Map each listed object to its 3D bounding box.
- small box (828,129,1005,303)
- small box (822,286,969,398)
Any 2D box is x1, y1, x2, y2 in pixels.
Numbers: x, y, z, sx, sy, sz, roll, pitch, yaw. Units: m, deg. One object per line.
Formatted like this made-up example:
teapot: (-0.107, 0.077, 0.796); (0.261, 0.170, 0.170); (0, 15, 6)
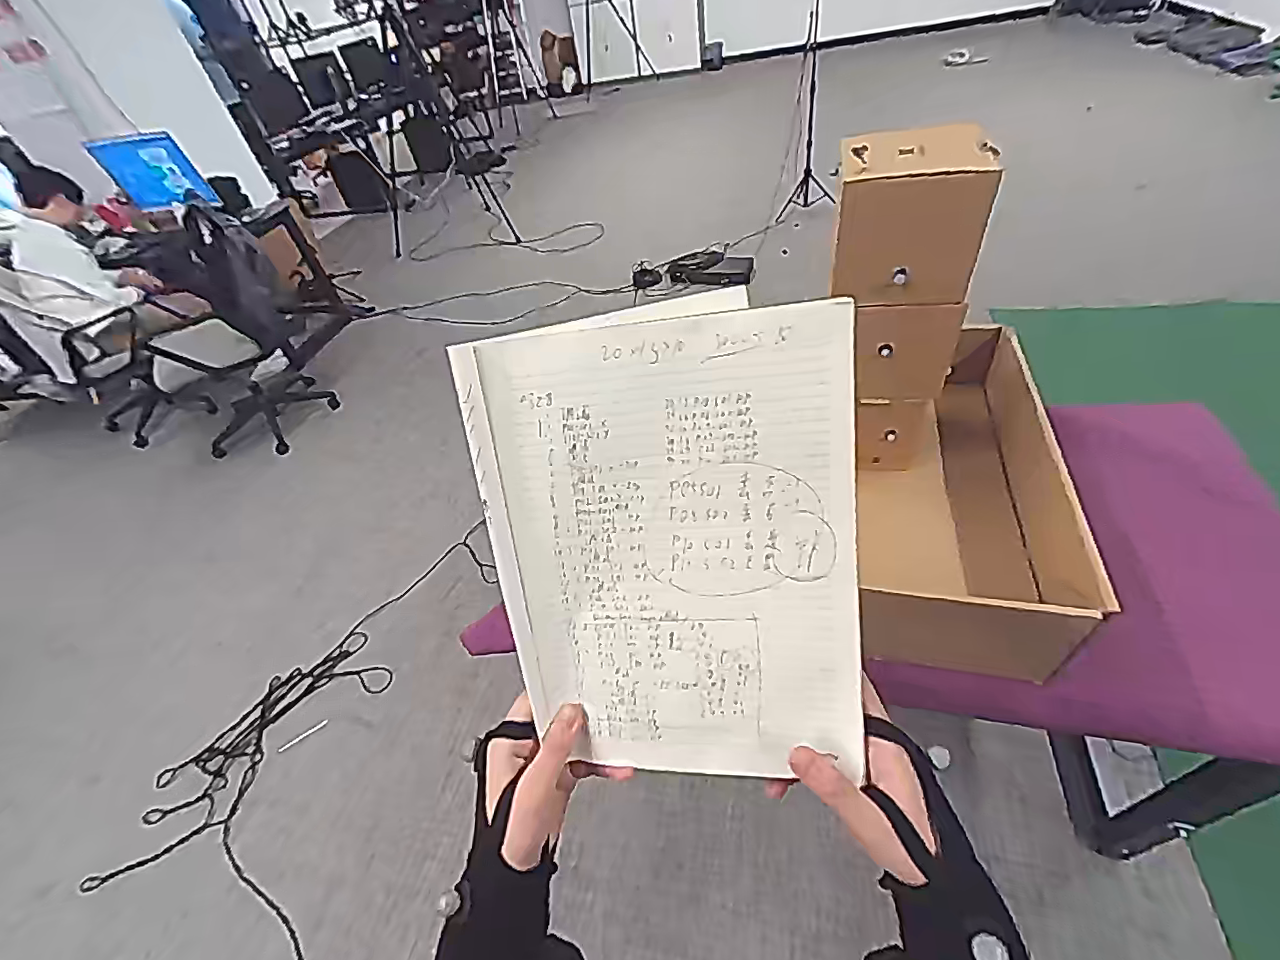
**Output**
small box: (0.364, -0.359, 0.747); (0.179, 0.176, 0.168); (5, 48, 15)
small box: (0.390, -0.244, 0.861); (0.179, 0.176, 0.168); (2, 47, 15)
